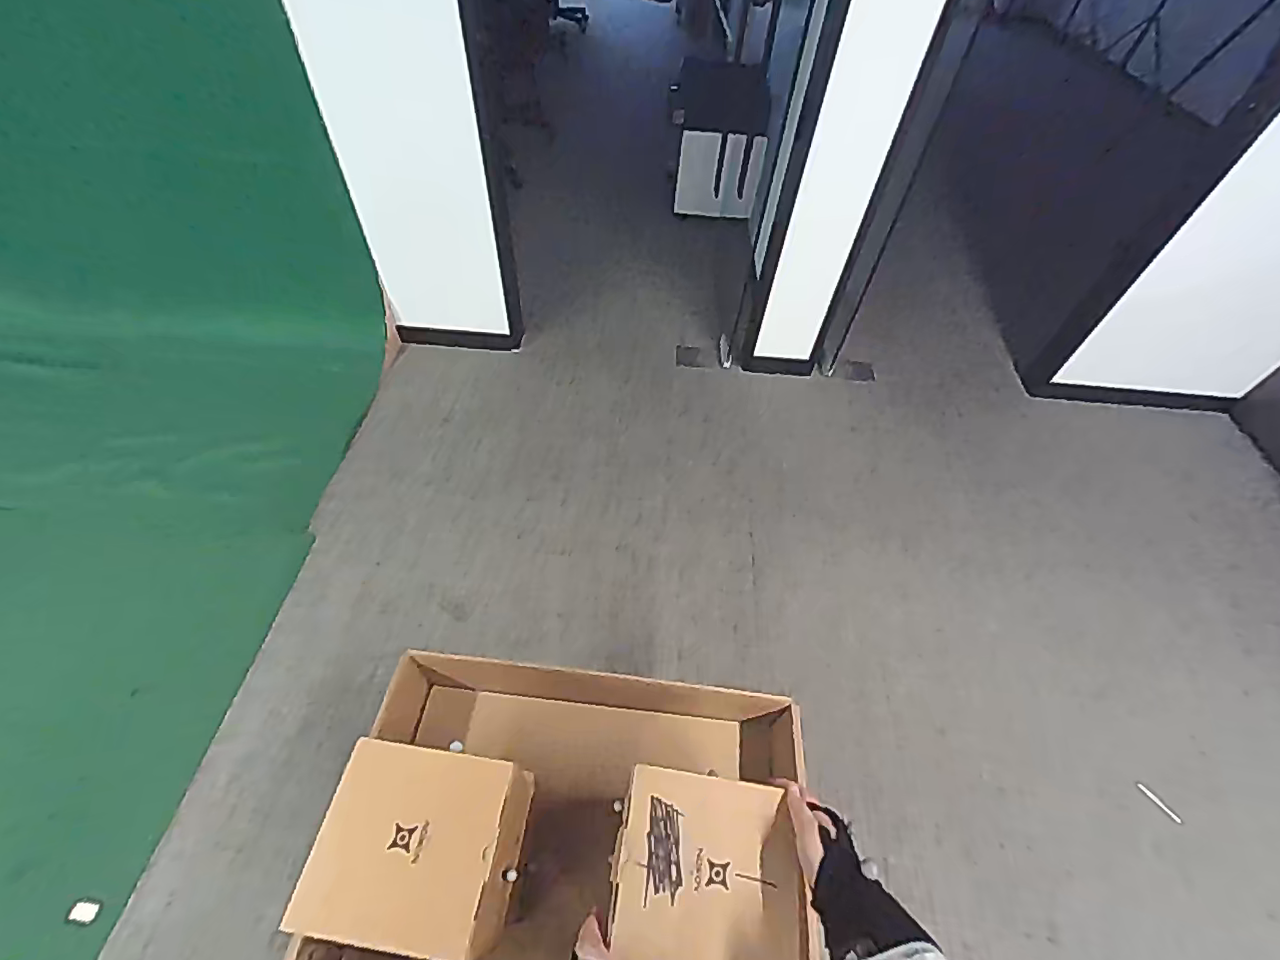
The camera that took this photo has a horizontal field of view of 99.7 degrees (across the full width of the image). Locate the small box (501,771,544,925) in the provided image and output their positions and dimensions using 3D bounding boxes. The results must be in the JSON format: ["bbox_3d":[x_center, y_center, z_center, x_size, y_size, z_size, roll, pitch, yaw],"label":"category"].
[{"bbox_3d":[-0.237,0.491,0.735,0.179,0.176,0.168,8,52,1],"label":"small box"}]

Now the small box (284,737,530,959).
[{"bbox_3d":[-0.232,0.404,0.597,0.179,0.176,0.168,8,52,2],"label":"small box"}]

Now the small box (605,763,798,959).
[{"bbox_3d":[0.062,0.424,0.588,0.179,0.176,0.168,10,56,2],"label":"small box"}]
